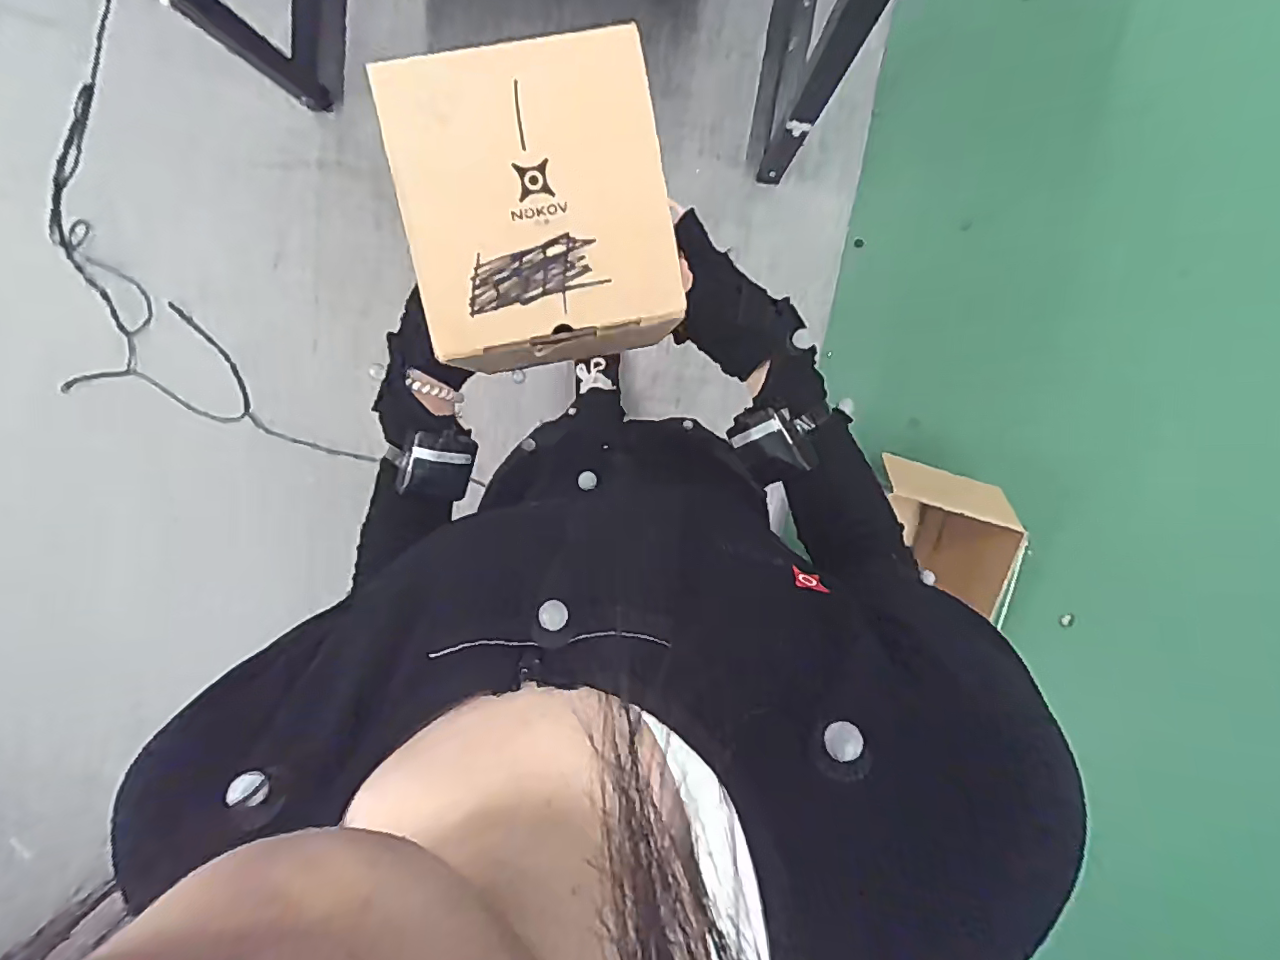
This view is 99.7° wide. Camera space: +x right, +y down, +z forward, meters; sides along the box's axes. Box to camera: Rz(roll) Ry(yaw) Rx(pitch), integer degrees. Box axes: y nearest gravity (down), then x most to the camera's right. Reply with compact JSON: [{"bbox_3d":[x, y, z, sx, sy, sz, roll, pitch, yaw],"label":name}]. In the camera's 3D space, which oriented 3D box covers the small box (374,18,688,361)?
[{"bbox_3d":[-0.068,-0.190,0.411,0.168,0.176,0.179,-11,99,-4],"label":"small box"}]
